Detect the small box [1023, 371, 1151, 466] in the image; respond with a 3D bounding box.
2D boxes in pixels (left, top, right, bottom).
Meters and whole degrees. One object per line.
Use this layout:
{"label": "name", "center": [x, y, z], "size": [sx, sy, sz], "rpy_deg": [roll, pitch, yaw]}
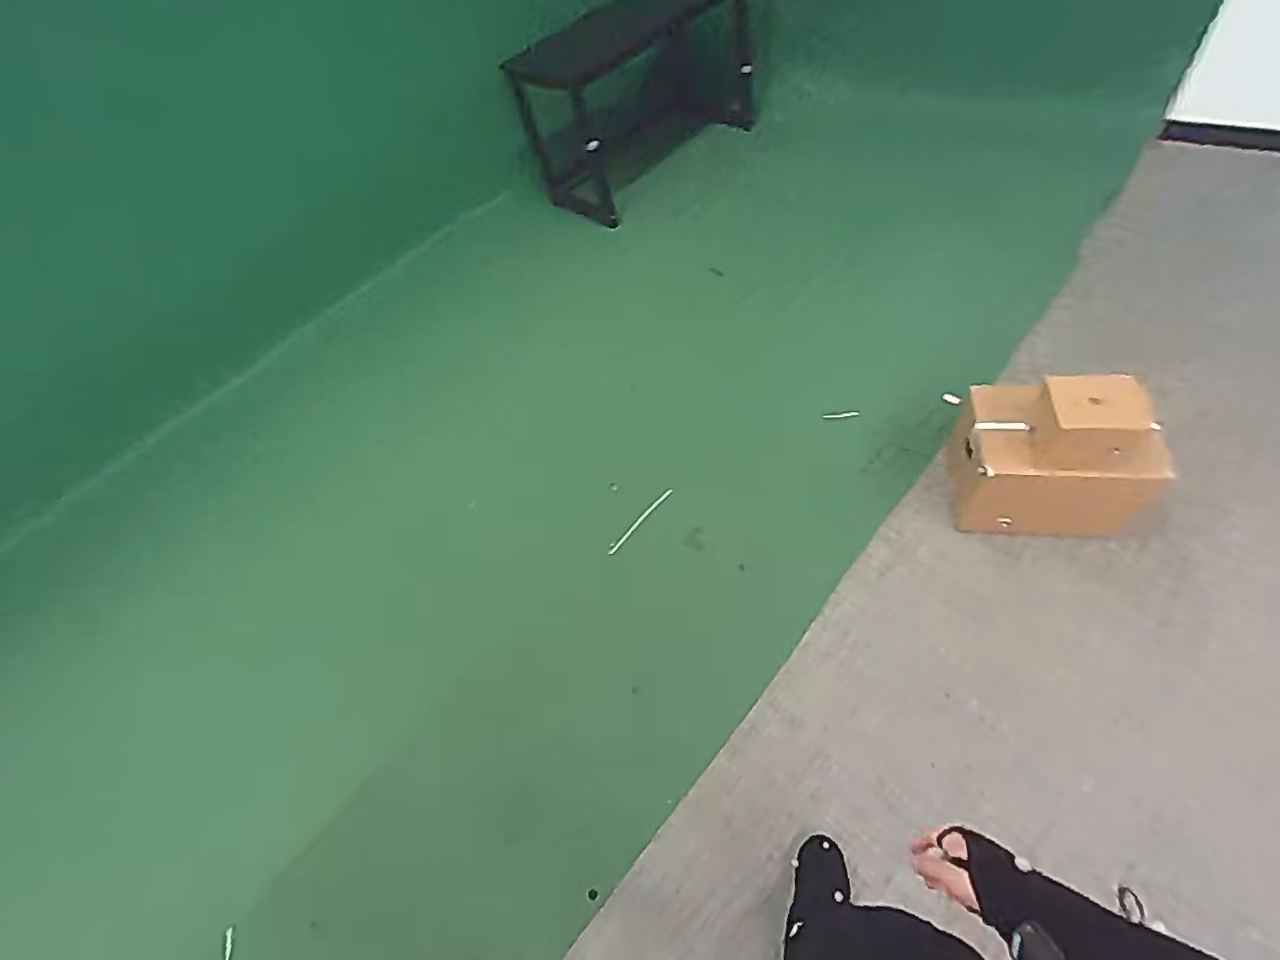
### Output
{"label": "small box", "center": [1.066, -0.145, 1.306], "size": [0.179, 0.176, 0.168], "rpy_deg": [2, 57, 17]}
